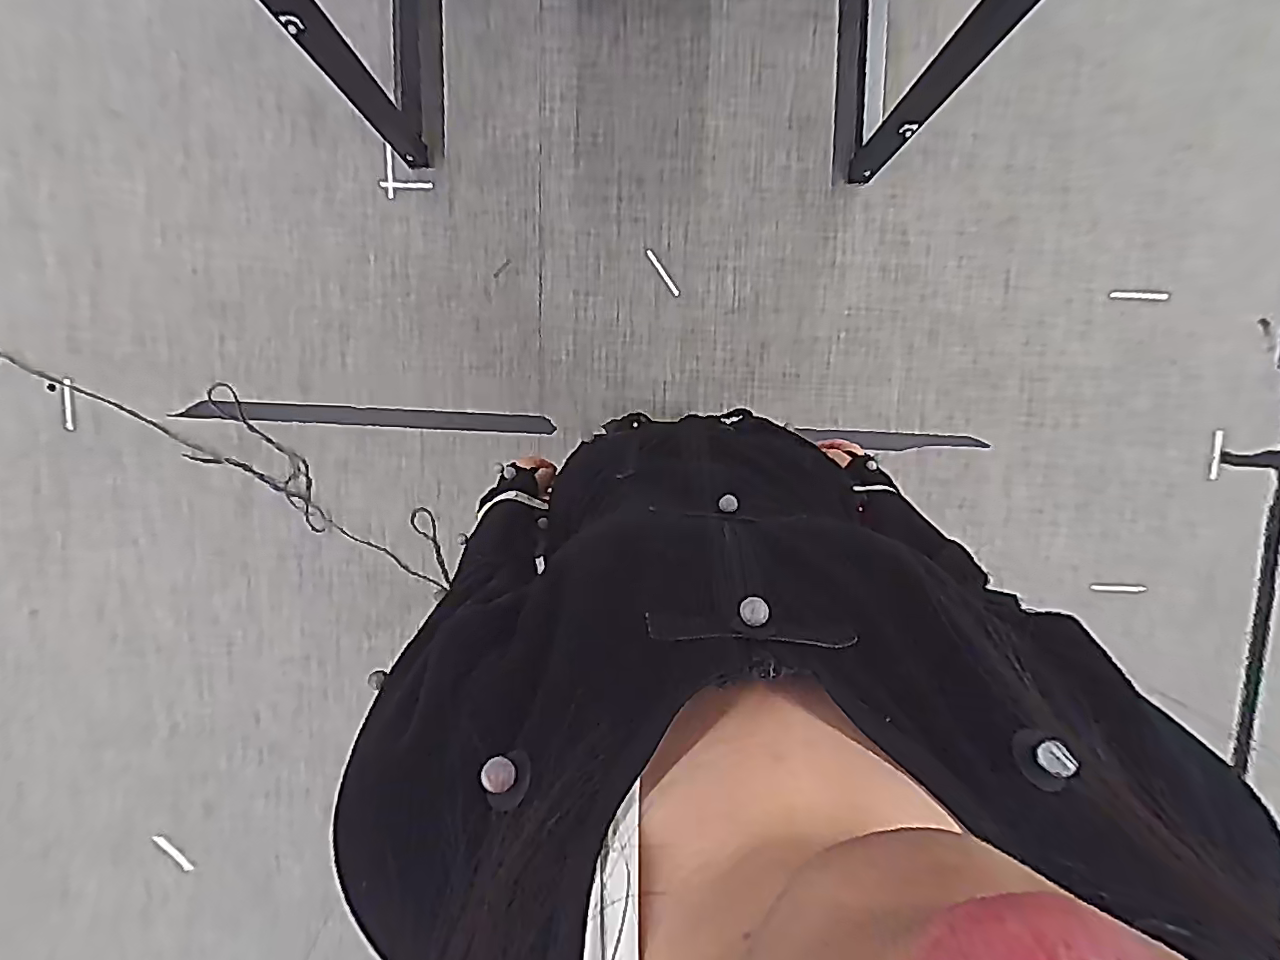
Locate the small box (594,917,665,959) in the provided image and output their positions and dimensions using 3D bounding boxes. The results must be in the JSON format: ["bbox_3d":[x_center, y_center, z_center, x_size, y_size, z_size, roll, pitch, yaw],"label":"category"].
[{"bbox_3d":[-0.018,1.258,1.357,0.168,0.176,0.179,-12,96,-1],"label":"small box"}]

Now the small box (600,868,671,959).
[{"bbox_3d":[-0.015,1.234,1.520,0.168,0.176,0.179,-12,95,0],"label":"small box"}]
